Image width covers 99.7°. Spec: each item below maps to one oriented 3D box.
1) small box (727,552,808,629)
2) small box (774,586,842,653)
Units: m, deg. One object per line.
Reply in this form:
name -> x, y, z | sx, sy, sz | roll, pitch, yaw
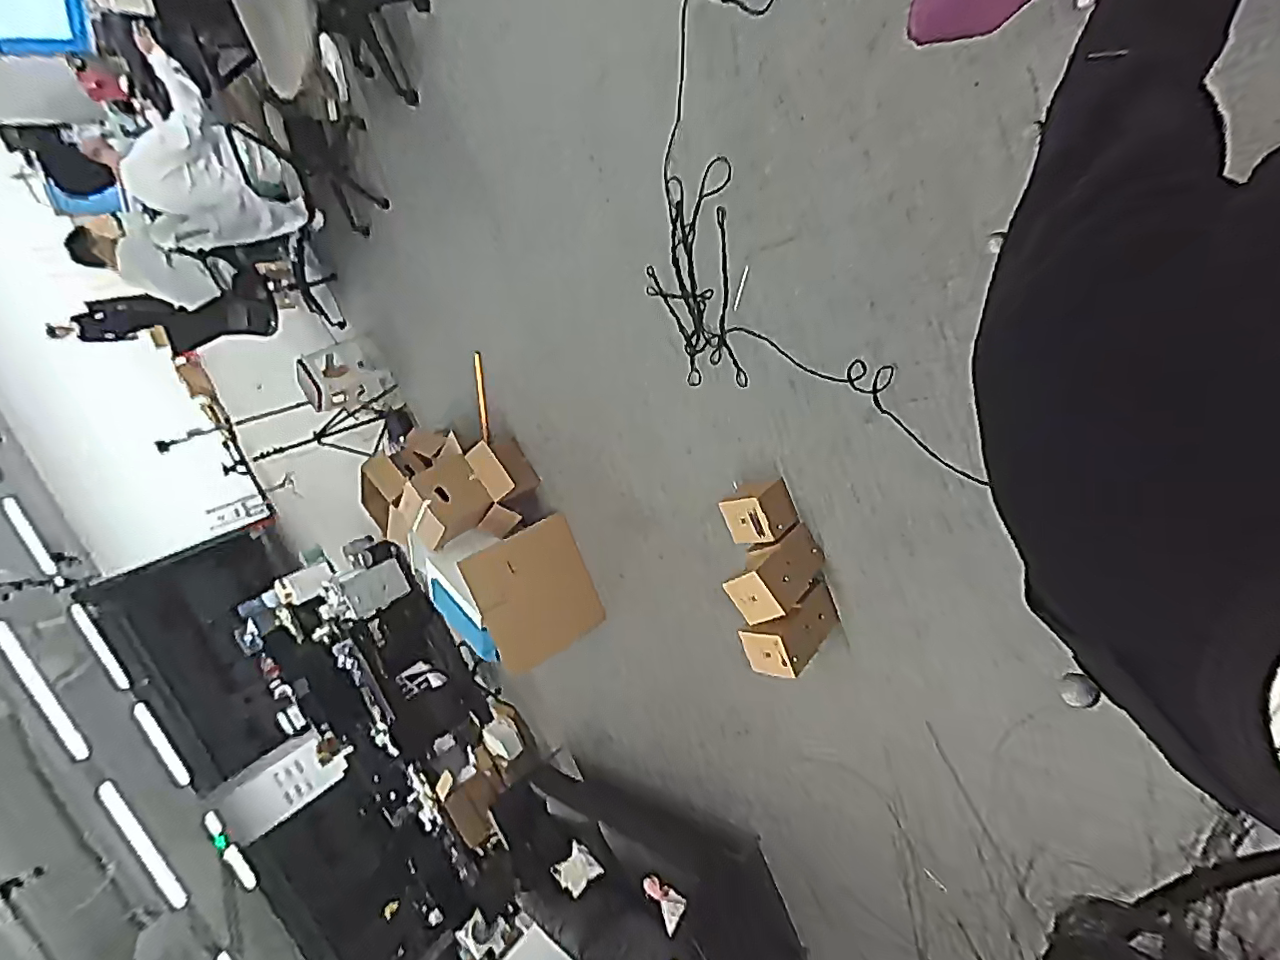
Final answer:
small box -> 0.426, 0.360, 1.774 | 0.168, 0.176, 0.179 | 55, 142, 4
small box -> 0.594, 0.488, 1.935 | 0.168, 0.176, 0.179 | -12, 105, 50
